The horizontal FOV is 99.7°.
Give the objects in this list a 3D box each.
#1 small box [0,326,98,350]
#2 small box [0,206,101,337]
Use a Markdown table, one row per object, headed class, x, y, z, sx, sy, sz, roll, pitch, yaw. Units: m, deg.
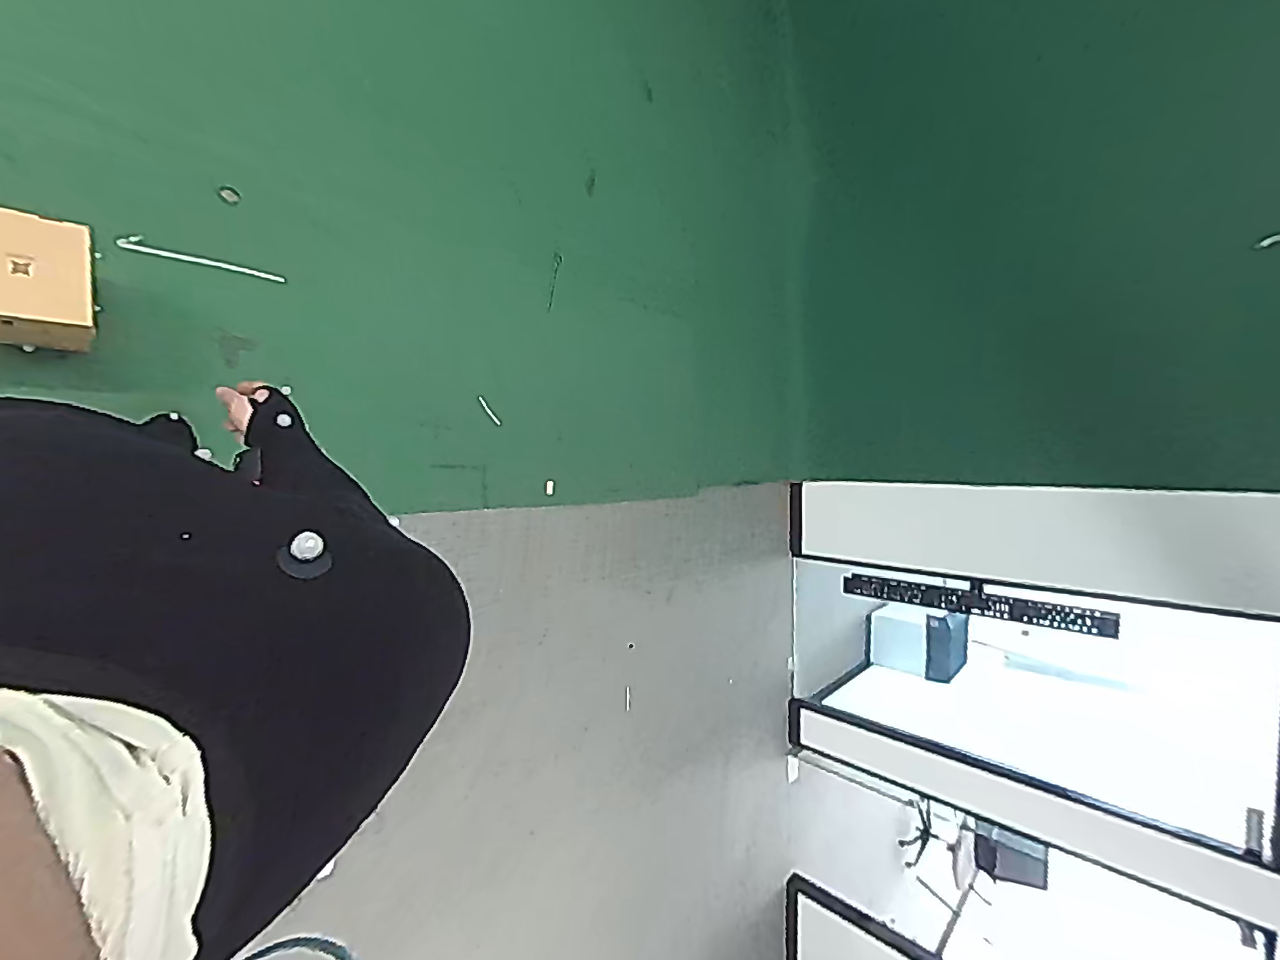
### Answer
| class | x | y | z | sx | sy | sz | roll | pitch | yaw |
| --- | --- | --- | --- | --- | --- | --- | --- | --- | --- |
| small box | -1.185 | -0.364 | 1.061 | 0.168 | 0.176 | 0.179 | -2 | 95 | -45 |
| small box | -1.069 | -0.359 | 0.950 | 0.168 | 0.176 | 0.179 | -3 | 93 | -44 |
